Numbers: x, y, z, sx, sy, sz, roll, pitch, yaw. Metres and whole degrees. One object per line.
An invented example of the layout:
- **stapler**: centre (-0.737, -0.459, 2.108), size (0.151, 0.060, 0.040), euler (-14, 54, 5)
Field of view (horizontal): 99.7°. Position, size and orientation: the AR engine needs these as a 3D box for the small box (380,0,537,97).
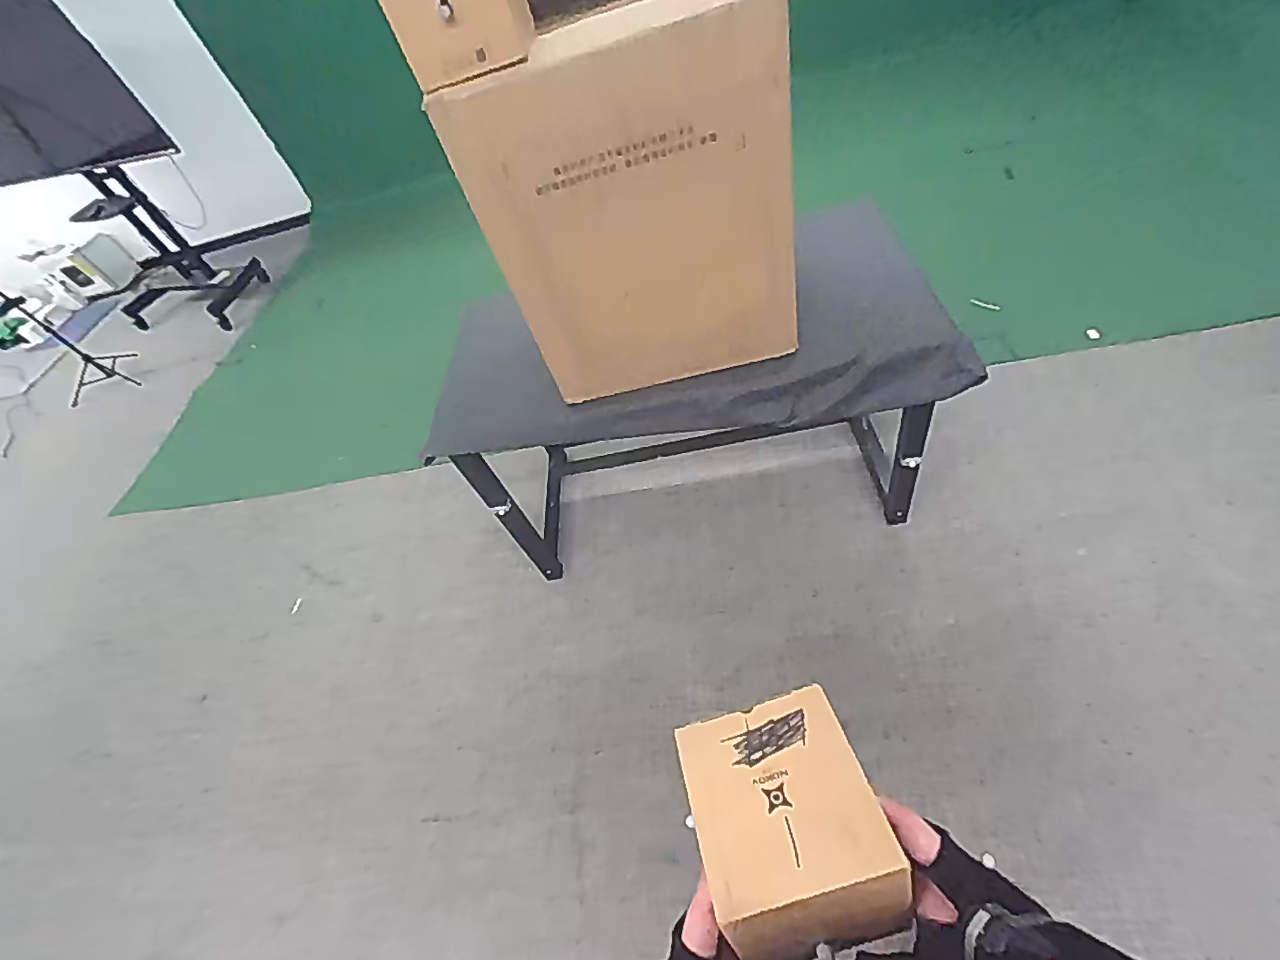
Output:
- **small box**: centre (-0.259, -0.690, 0.784), size (0.168, 0.176, 0.179), euler (-11, 50, 9)
